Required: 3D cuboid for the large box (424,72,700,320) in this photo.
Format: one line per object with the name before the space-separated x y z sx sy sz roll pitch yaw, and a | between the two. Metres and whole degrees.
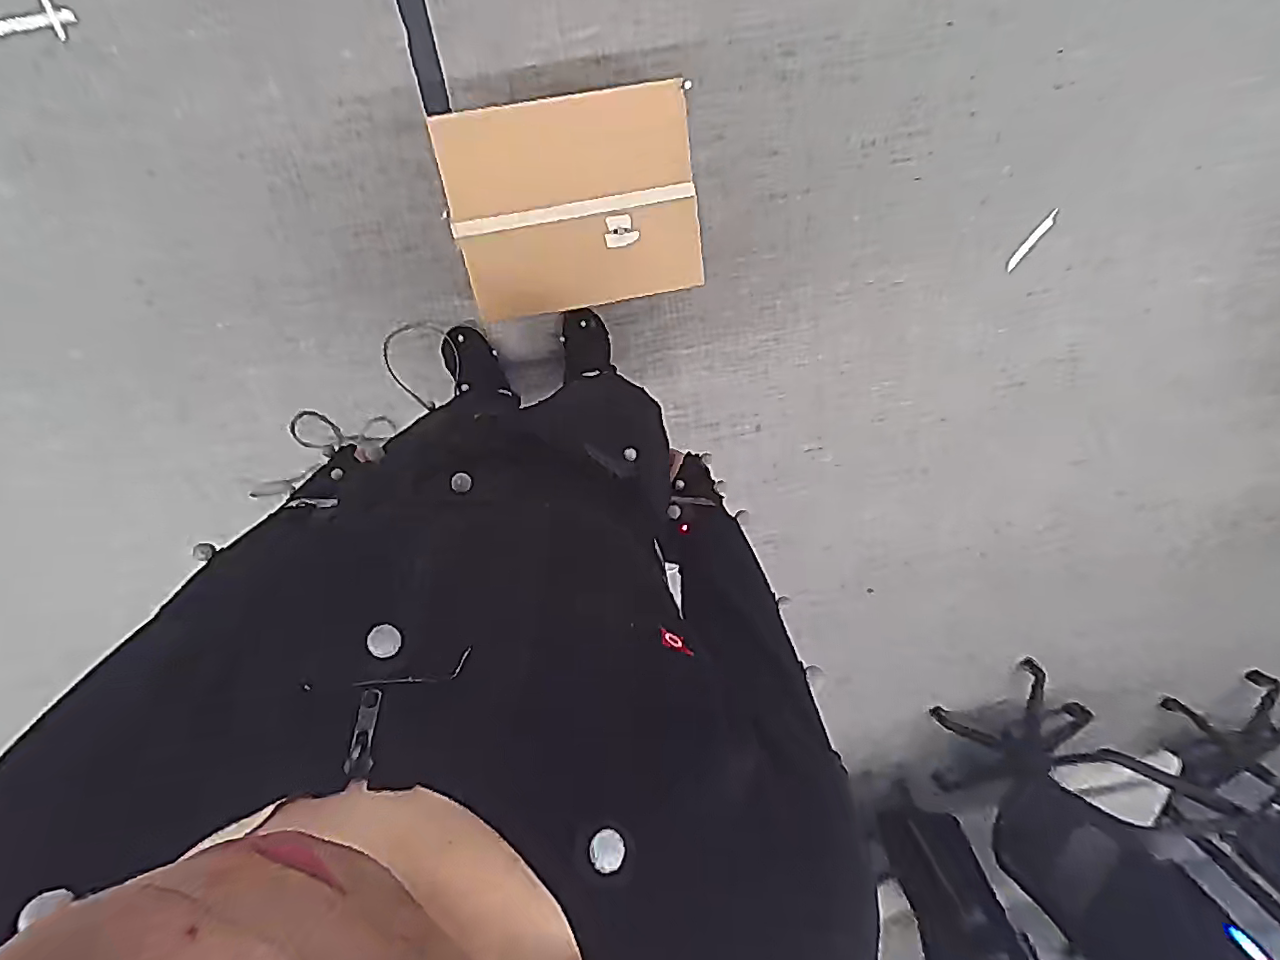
large box | -0.132 -0.511 1.020 0.408 0.320 0.320 -12 116 -4
